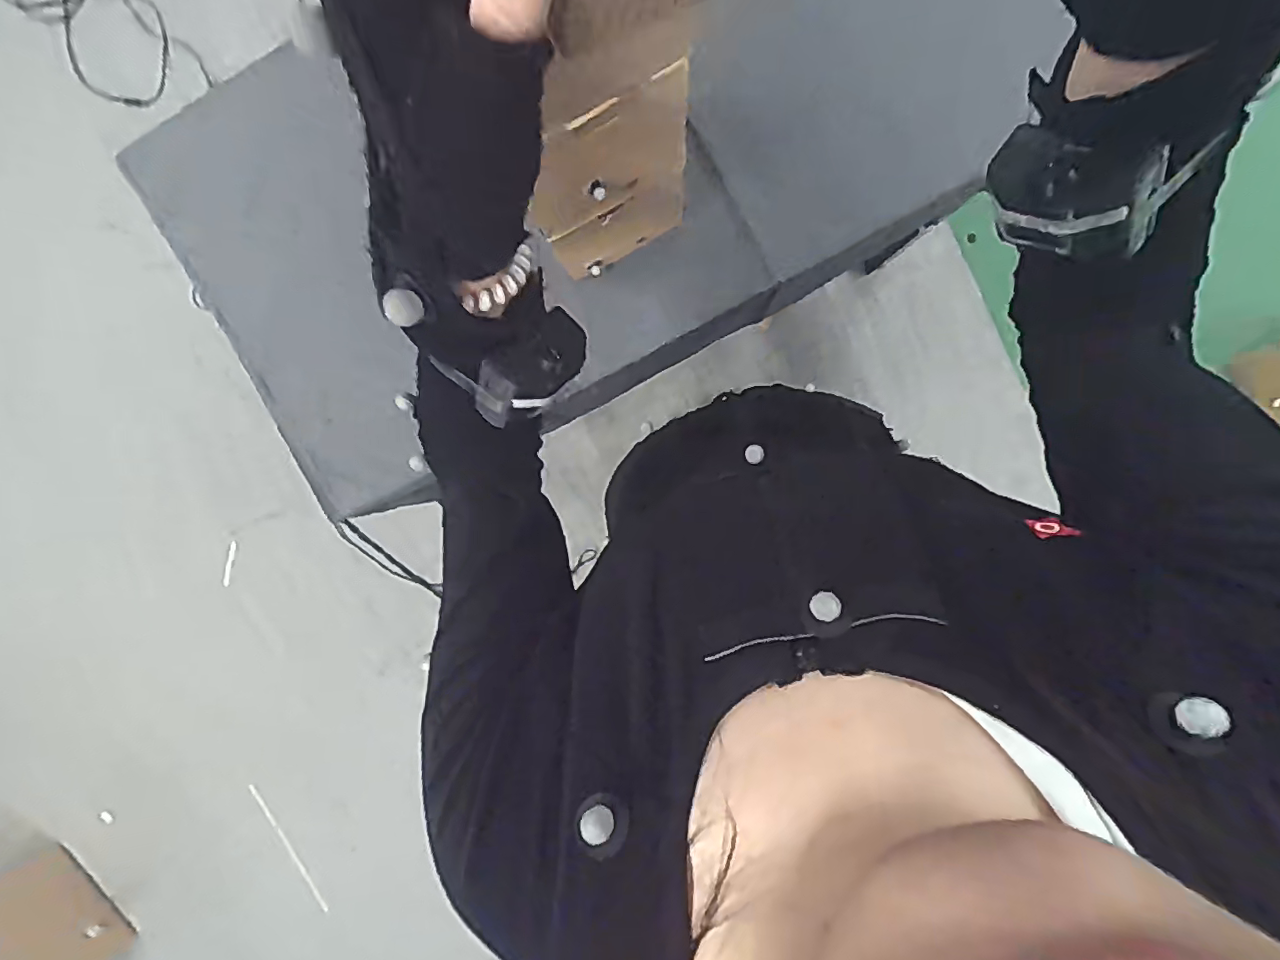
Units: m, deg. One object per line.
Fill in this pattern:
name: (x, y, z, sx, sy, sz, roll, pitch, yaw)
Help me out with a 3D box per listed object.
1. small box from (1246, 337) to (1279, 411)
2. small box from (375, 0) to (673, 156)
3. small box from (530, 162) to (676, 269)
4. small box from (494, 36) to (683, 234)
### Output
small box: (1.602, -0.268, 1.272, 0.179, 0.176, 0.168, -22, 94, 6)
small box: (-0.082, -0.349, 0.332, 0.179, 0.176, 0.168, -26, 93, 6)
small box: (-0.062, -0.381, 0.657, 0.168, 0.176, 0.179, -28, 92, 6)
small box: (-0.073, -0.366, 0.495, 0.168, 0.176, 0.179, -28, 93, 6)
